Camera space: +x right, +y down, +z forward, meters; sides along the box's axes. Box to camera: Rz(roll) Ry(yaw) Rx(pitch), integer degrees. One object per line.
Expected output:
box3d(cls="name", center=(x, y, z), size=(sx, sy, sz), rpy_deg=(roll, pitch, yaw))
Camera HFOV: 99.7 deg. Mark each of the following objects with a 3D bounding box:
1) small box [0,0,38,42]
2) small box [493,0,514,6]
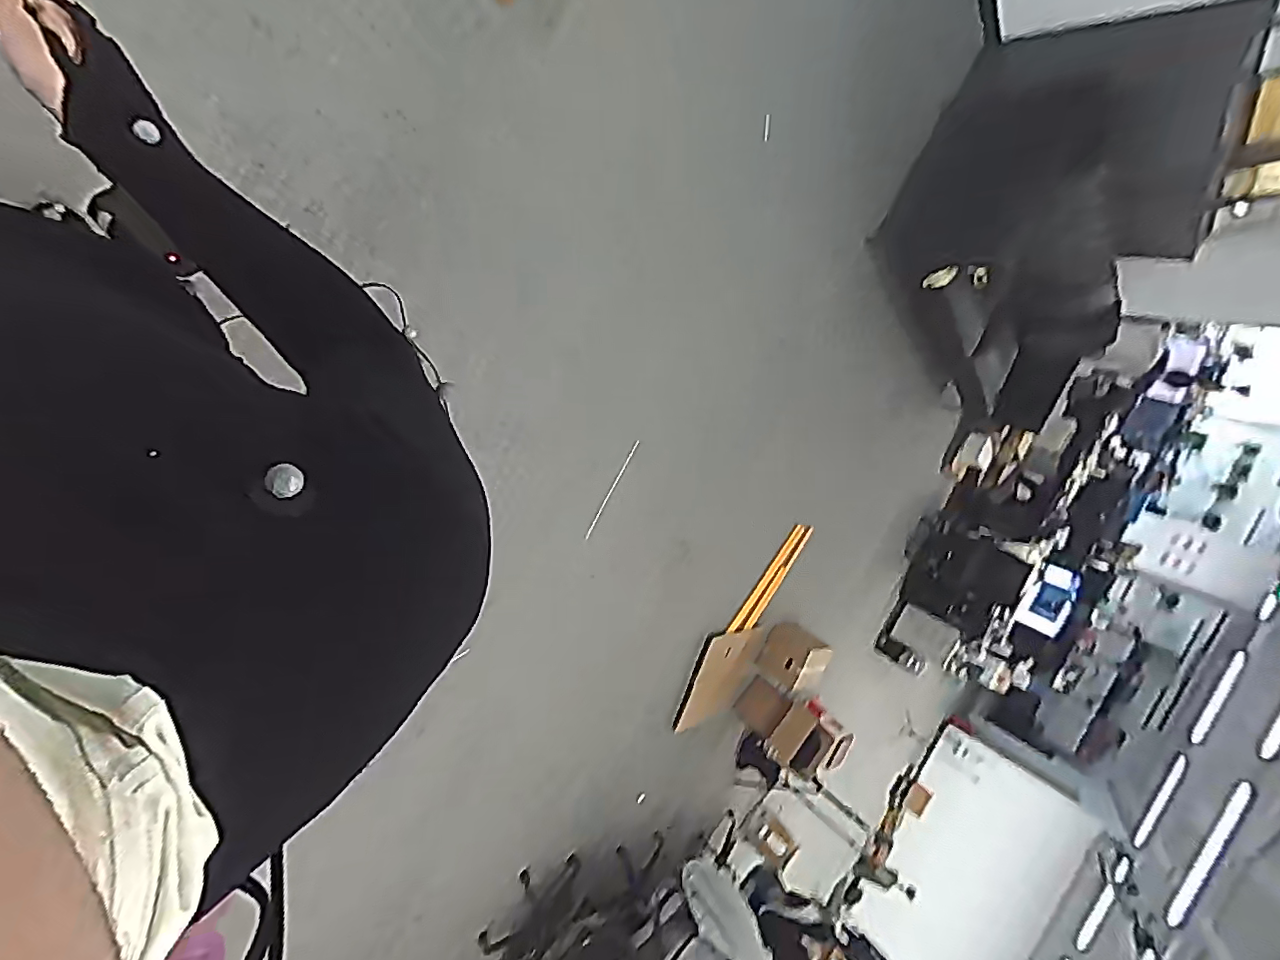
box3d(cls="small box", center=(-0.542, -0.423, 0.357), size=(0.179, 0.176, 0.168), rpy_deg=(-10, 120, -43))
box3d(cls="small box", center=(-0.323, -1.290, 1.286), size=(0.179, 0.176, 0.168), rpy_deg=(27, 90, -49))
